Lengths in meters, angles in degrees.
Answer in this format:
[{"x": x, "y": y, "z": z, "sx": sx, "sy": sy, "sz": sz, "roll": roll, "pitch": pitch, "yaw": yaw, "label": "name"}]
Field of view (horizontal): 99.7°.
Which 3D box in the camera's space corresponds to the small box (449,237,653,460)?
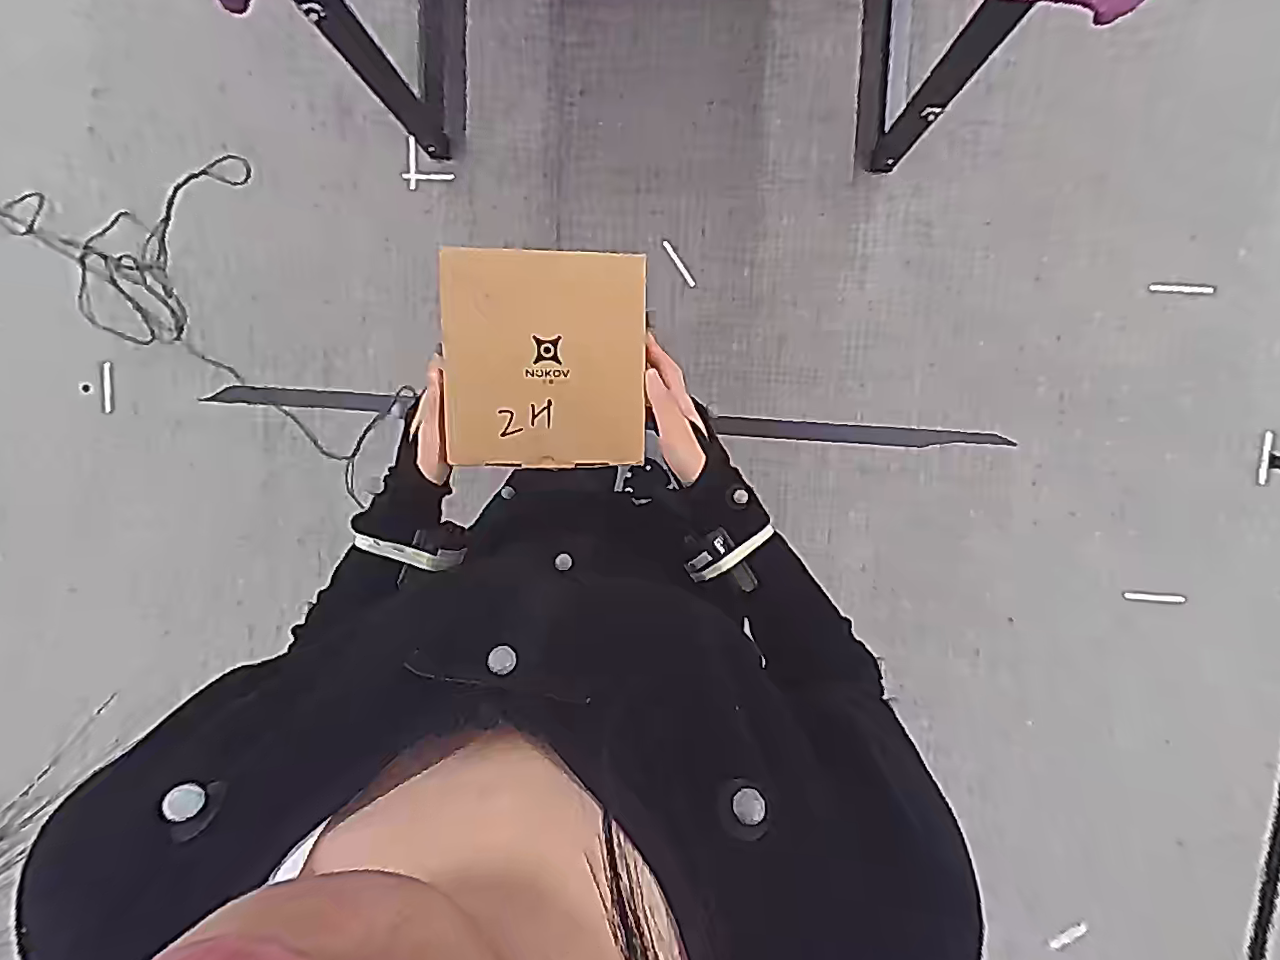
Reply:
[{"x": -0.082, "y": -0.112, "z": 0.521, "sx": 0.168, "sy": 0.176, "sz": 0.179, "roll": 0, "pitch": 97, "yaw": -6, "label": "small box"}]
